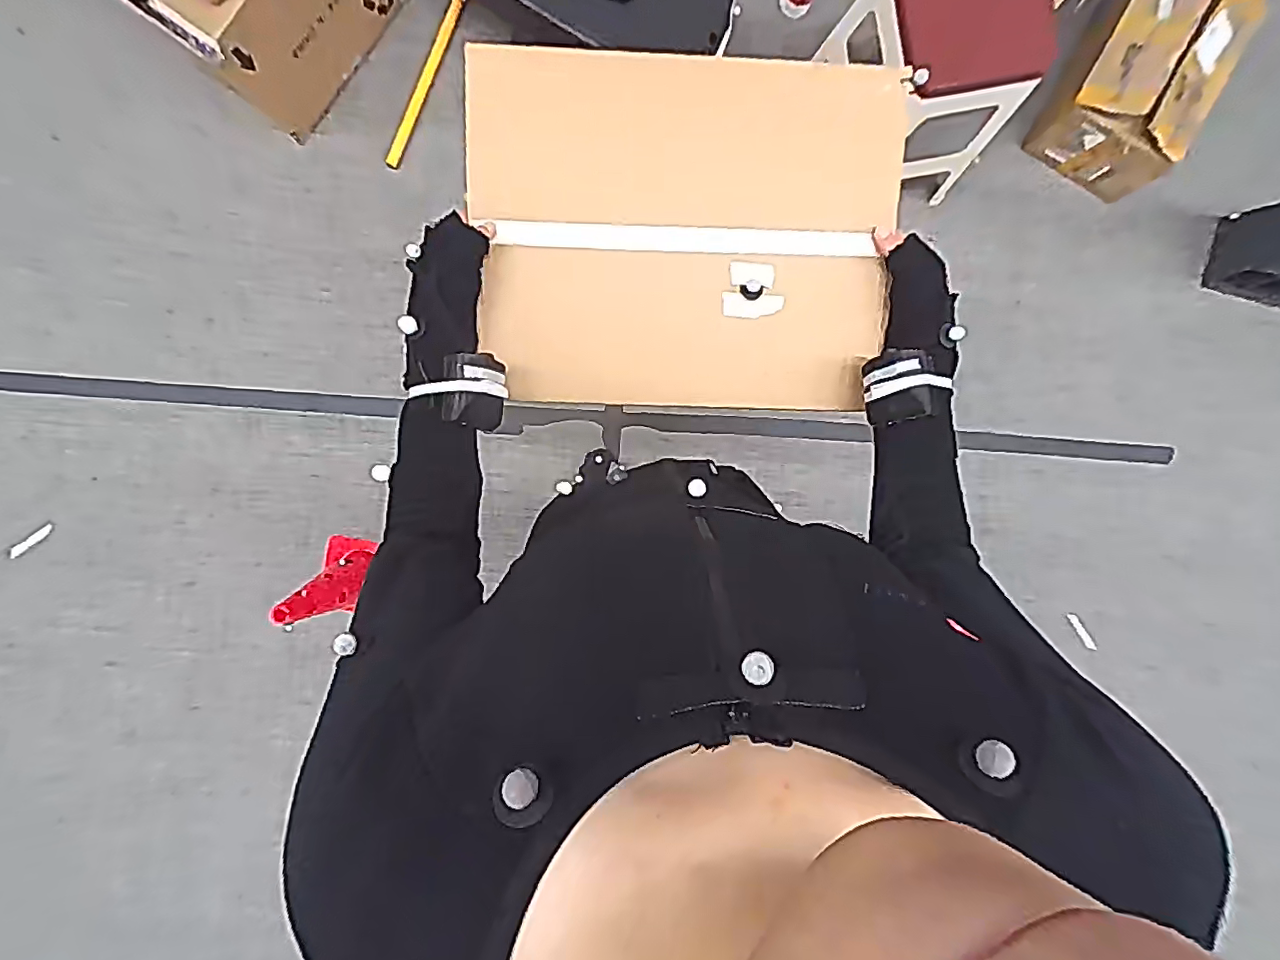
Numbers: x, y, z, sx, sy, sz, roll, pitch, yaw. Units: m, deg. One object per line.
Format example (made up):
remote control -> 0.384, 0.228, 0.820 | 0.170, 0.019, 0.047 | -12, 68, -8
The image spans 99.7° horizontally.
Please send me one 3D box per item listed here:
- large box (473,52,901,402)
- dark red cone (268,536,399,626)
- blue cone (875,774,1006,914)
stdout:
large box -> 0.037, -0.257, 0.665 | 0.408, 0.320, 0.320 | 1, 100, -3
dark red cone -> -0.735, 0.264, 1.264 | 0.201, 0.394, 0.202 | 10, 92, -4
blue cone -> 0.784, 0.948, 1.395 | 0.192, 0.380, 0.193 | 7, 92, -4
